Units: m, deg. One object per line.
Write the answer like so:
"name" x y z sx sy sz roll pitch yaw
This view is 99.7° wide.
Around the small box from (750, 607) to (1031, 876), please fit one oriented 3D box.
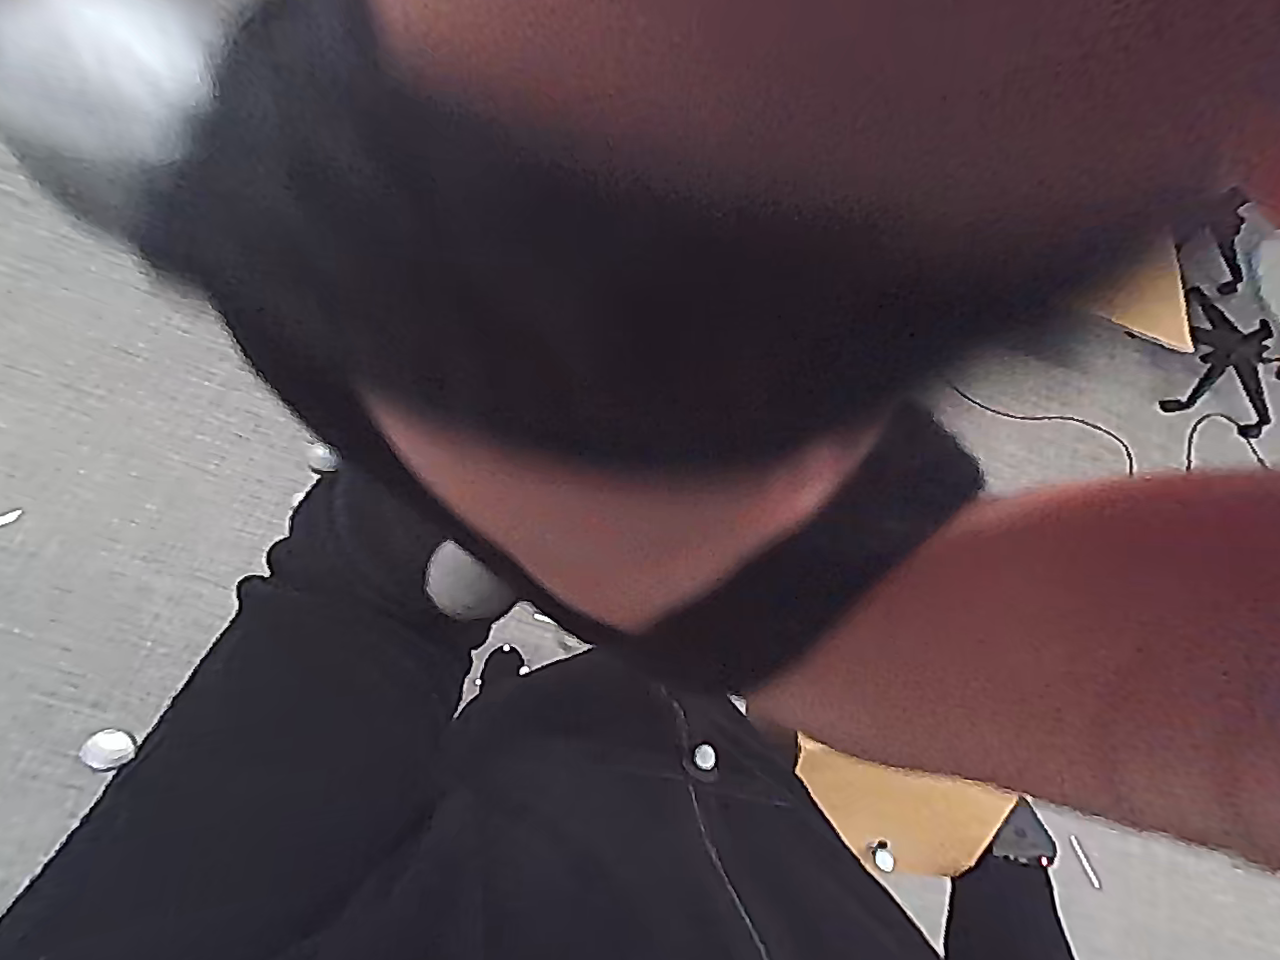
"small box" 0.212 0.246 0.518 0.179 0.176 0.168 3 29 1
